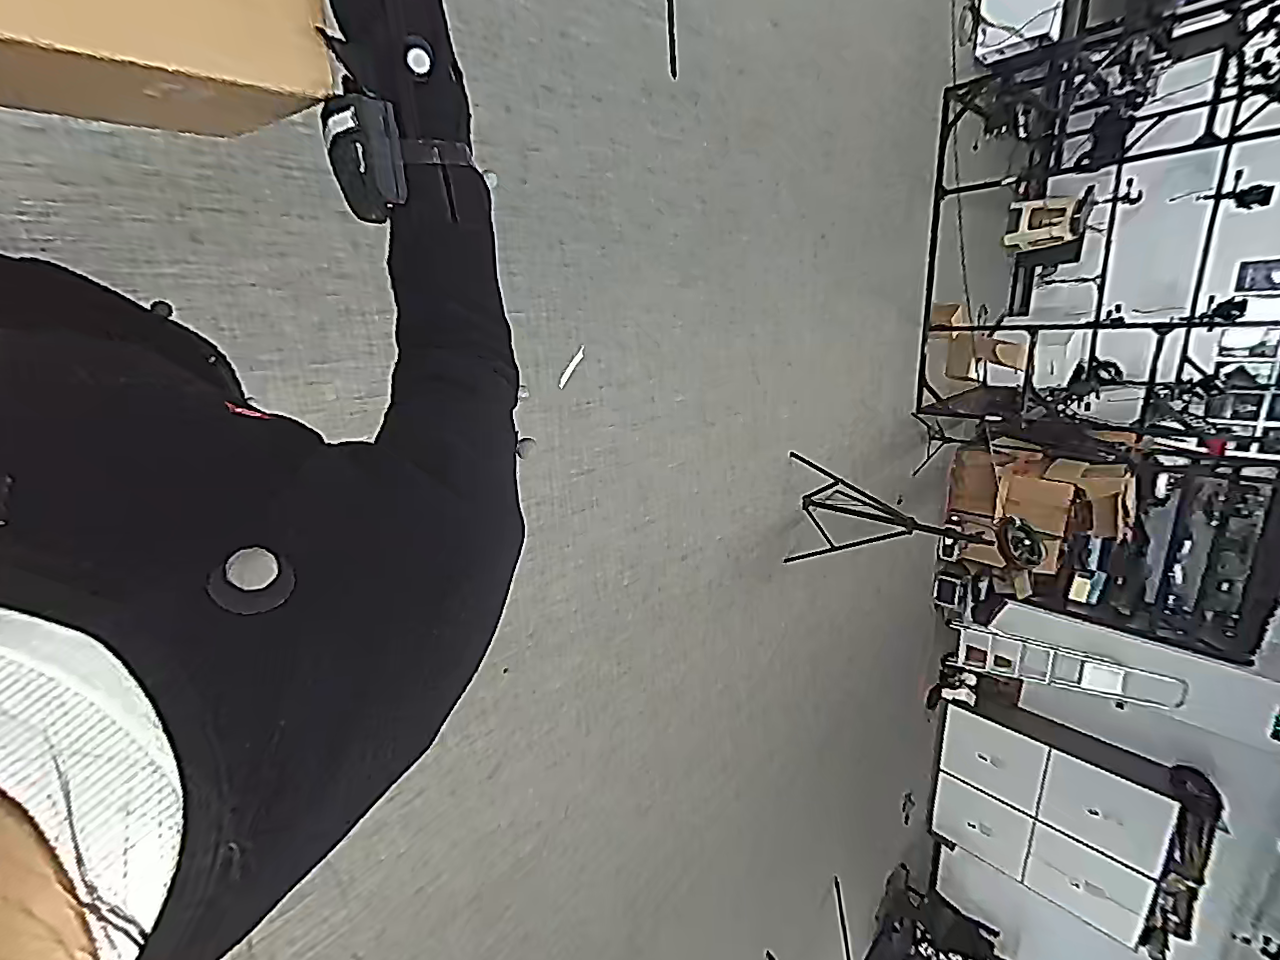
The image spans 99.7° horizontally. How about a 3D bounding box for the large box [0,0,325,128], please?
[{"bbox_3d":[-0.438,-0.381,0.246,0.408,0.320,0.320,-20,124,-41],"label":"large box"}]
